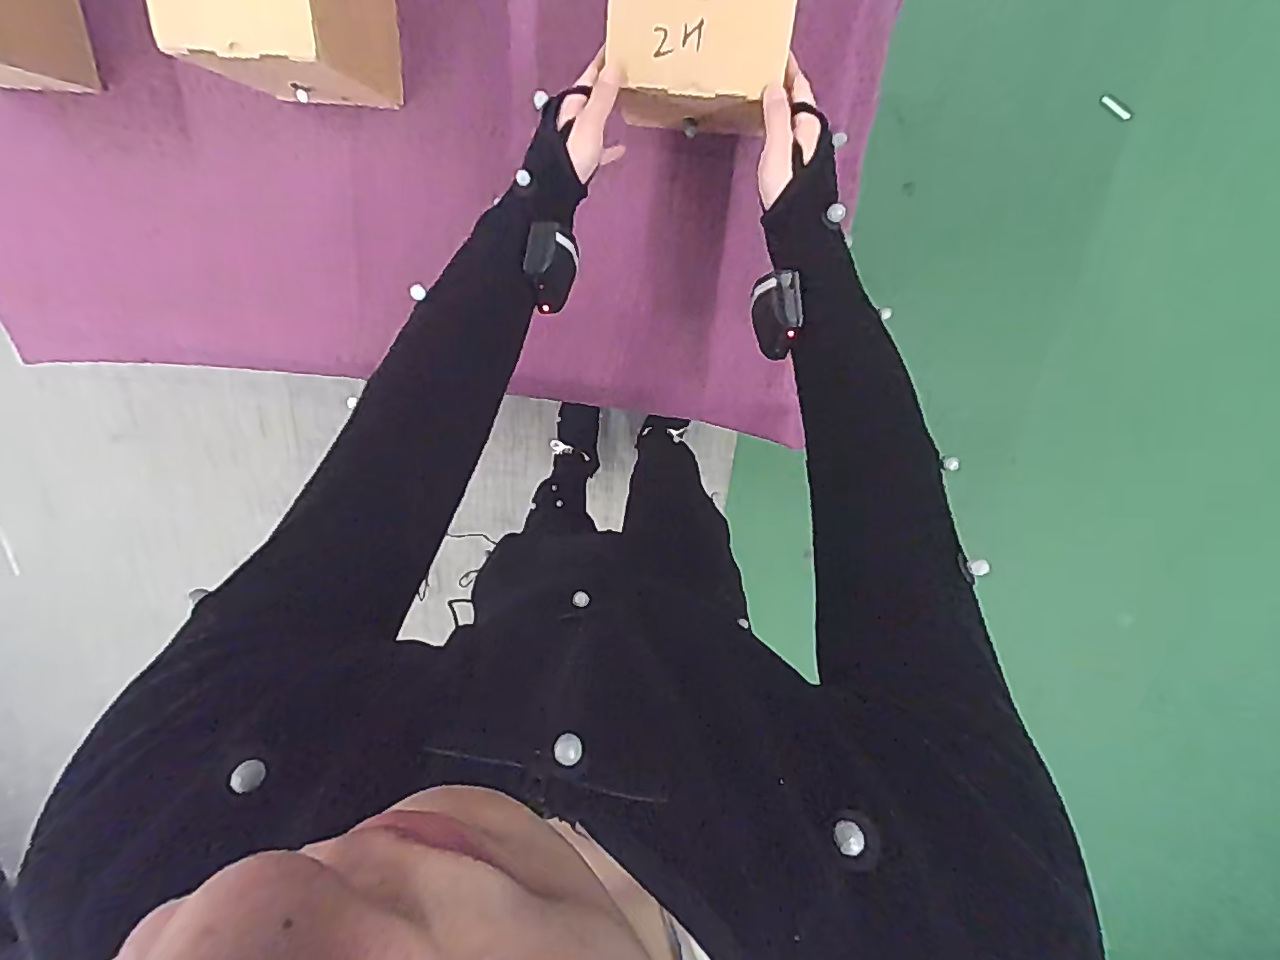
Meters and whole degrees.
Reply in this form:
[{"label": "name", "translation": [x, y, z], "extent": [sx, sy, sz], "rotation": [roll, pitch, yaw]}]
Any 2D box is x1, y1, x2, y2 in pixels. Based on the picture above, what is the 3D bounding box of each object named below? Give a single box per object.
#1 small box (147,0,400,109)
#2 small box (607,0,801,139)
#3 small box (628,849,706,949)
[{"label": "small box", "translation": [-0.371, -0.515, 0.561], "extent": [0.168, 0.176, 0.179], "rotation": [6, 113, 3]}, {"label": "small box", "translation": [0.066, -0.462, 0.537], "extent": [0.168, 0.176, 0.179], "rotation": [8, 114, 4]}, {"label": "small box", "translation": [0.087, 1.291, 1.680], "extent": [0.179, 0.176, 0.168], "rotation": [43, 110, -12]}]
